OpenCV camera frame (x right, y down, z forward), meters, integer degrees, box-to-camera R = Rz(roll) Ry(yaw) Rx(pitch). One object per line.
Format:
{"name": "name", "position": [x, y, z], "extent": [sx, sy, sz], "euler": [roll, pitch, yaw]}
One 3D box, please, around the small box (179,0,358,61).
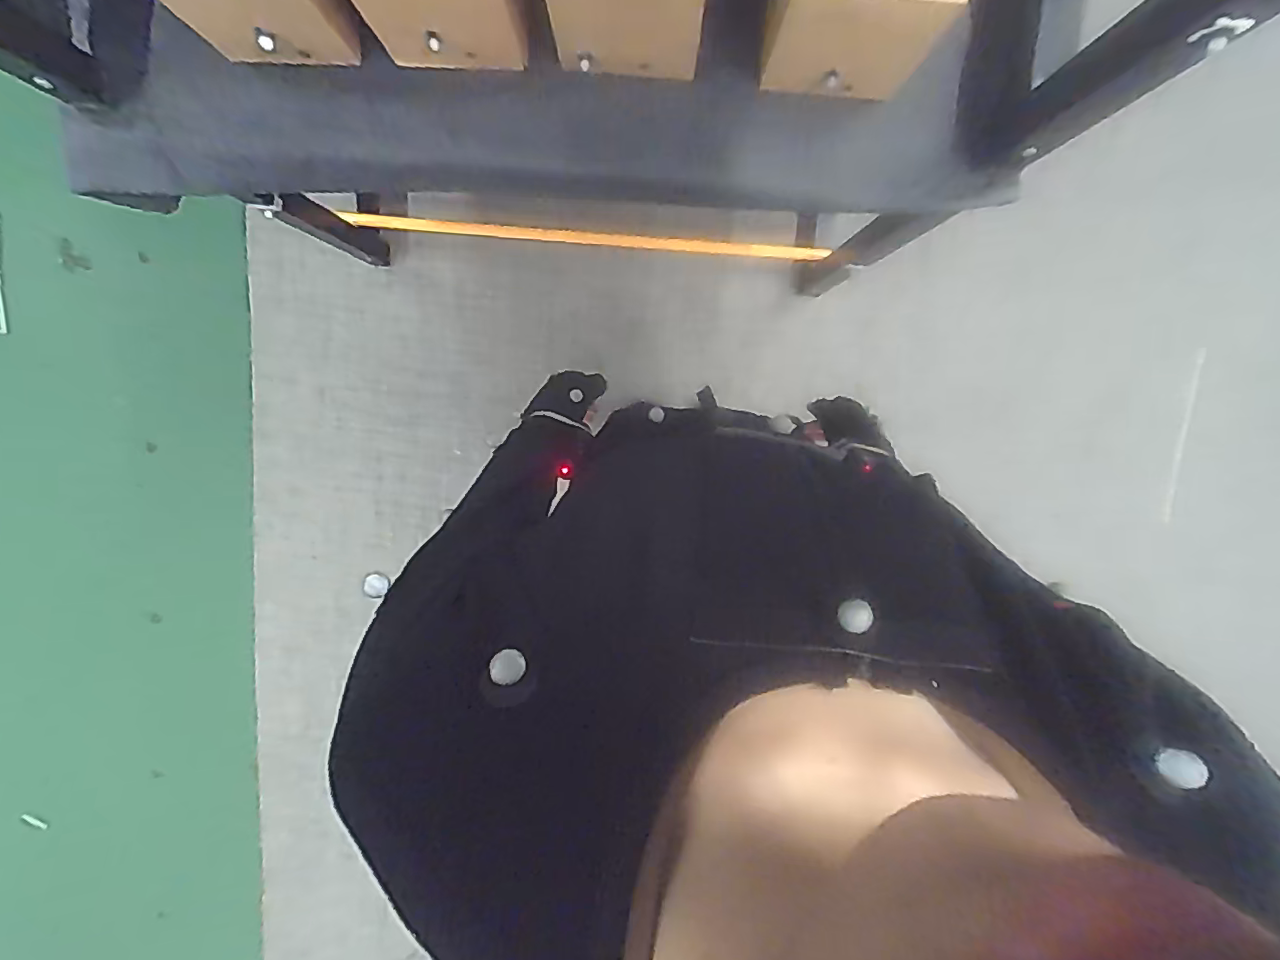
{"name": "small box", "position": [-0.424, -0.597, 0.575], "extent": [0.168, 0.176, 0.179], "euler": [2, 98, 0]}
